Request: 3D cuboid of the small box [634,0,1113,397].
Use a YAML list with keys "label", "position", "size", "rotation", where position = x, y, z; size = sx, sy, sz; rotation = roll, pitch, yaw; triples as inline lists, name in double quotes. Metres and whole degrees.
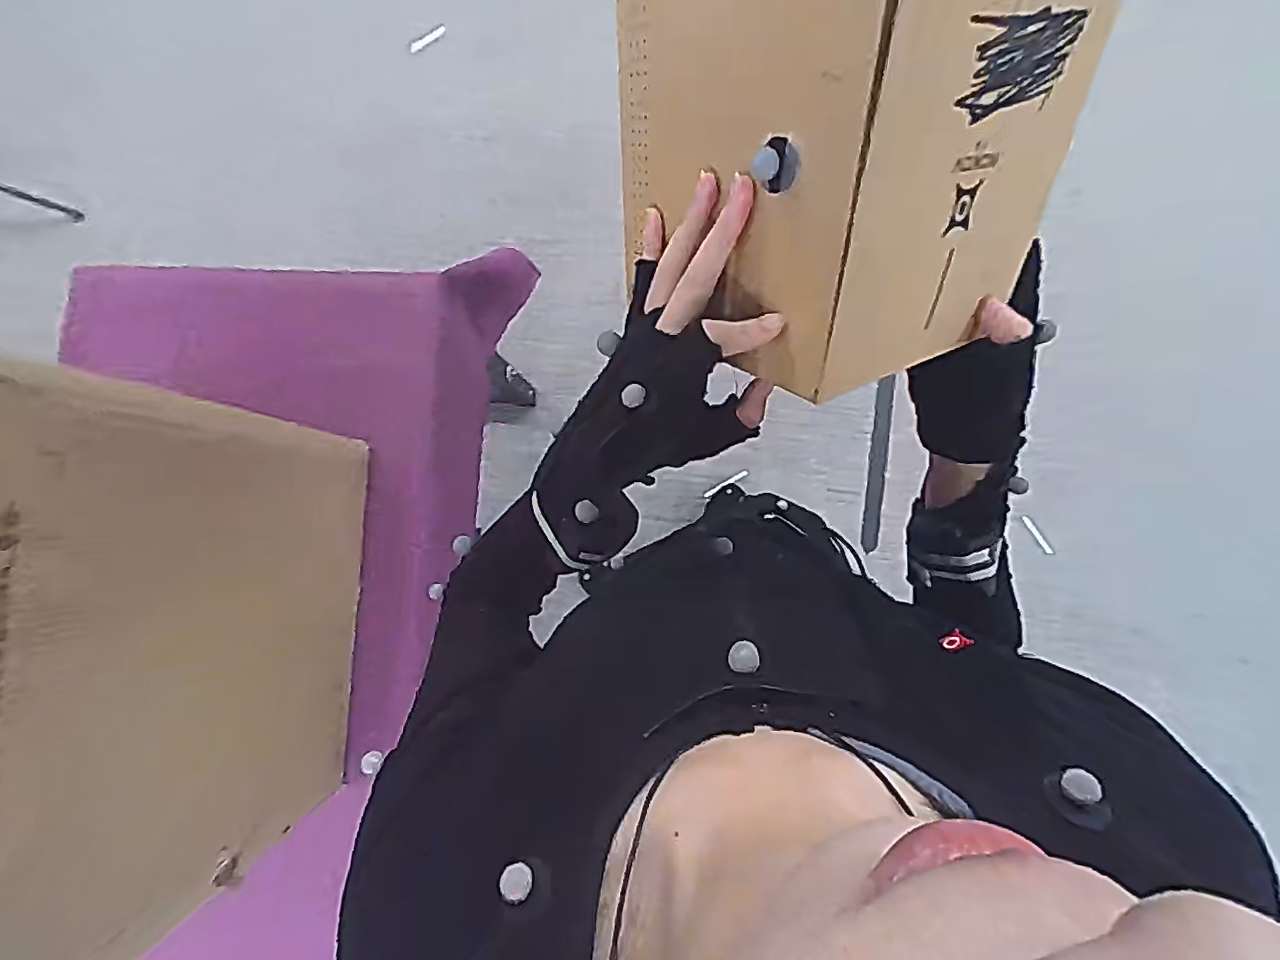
- label: "small box"
  position: [0.107, -0.172, 0.309]
  size: [0.168, 0.176, 0.179]
  rotation: [-21, 129, -27]
